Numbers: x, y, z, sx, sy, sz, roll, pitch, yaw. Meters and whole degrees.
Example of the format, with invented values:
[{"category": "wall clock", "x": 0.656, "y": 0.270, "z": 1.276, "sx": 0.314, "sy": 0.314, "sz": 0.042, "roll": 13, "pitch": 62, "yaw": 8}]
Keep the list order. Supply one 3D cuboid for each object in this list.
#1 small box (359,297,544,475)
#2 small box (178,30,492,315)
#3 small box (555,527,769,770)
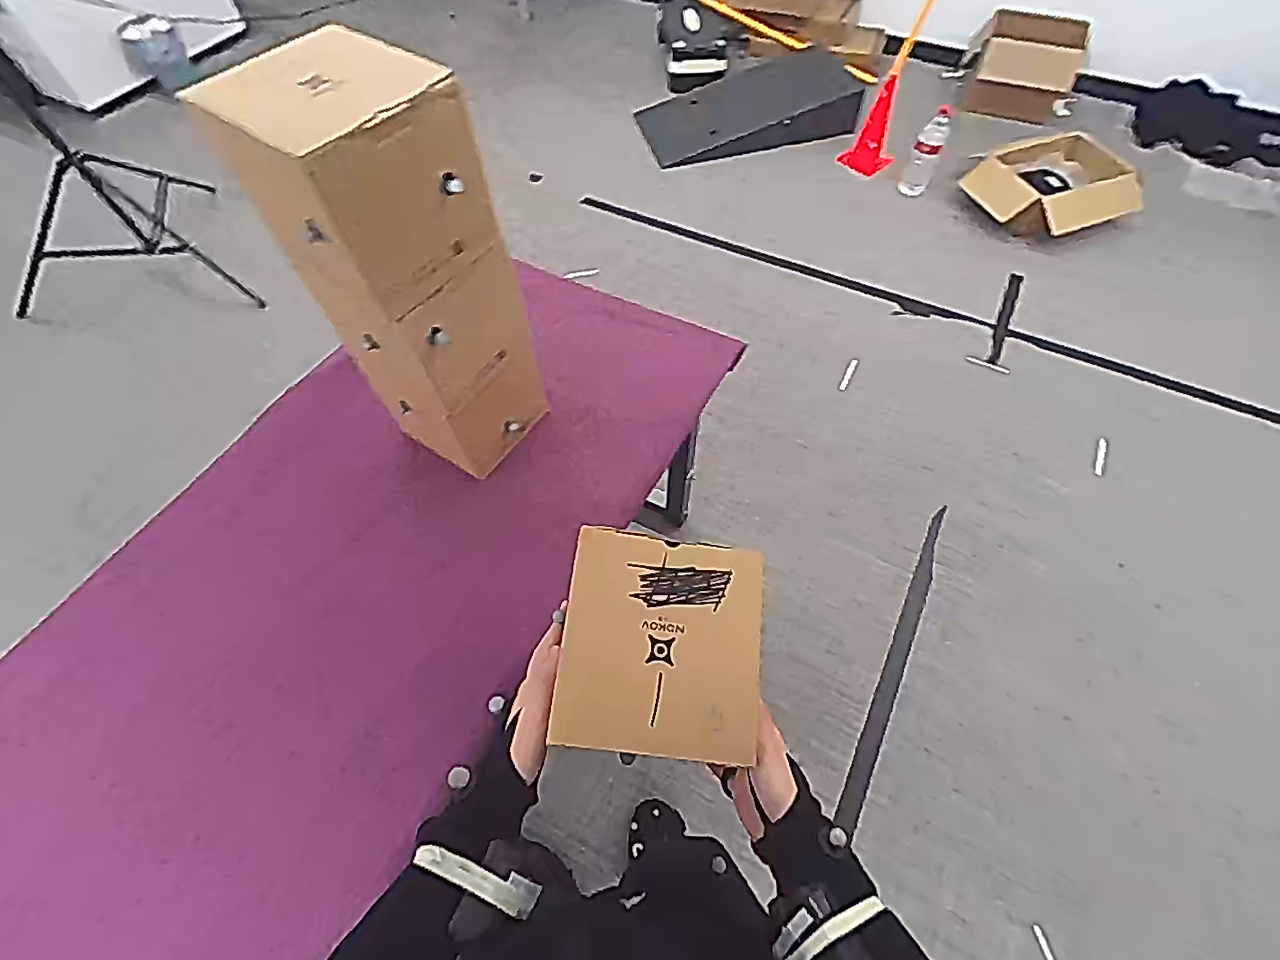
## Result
[{"category": "small box", "x": -0.271, "y": -0.136, "z": 0.818, "sx": 0.179, "sy": 0.176, "sz": 0.168, "roll": 30, "pitch": 66, "yaw": 17}, {"category": "small box", "x": -0.274, "y": -0.292, "z": 0.531, "sx": 0.179, "sy": 0.176, "sz": 0.168, "roll": 31, "pitch": 64, "yaw": 19}, {"category": "small box", "x": 0.016, "y": 0.161, "z": 0.515, "sx": 0.168, "sy": 0.176, "sz": 0.179, "roll": 8, "pitch": 68, "yaw": -3}]
